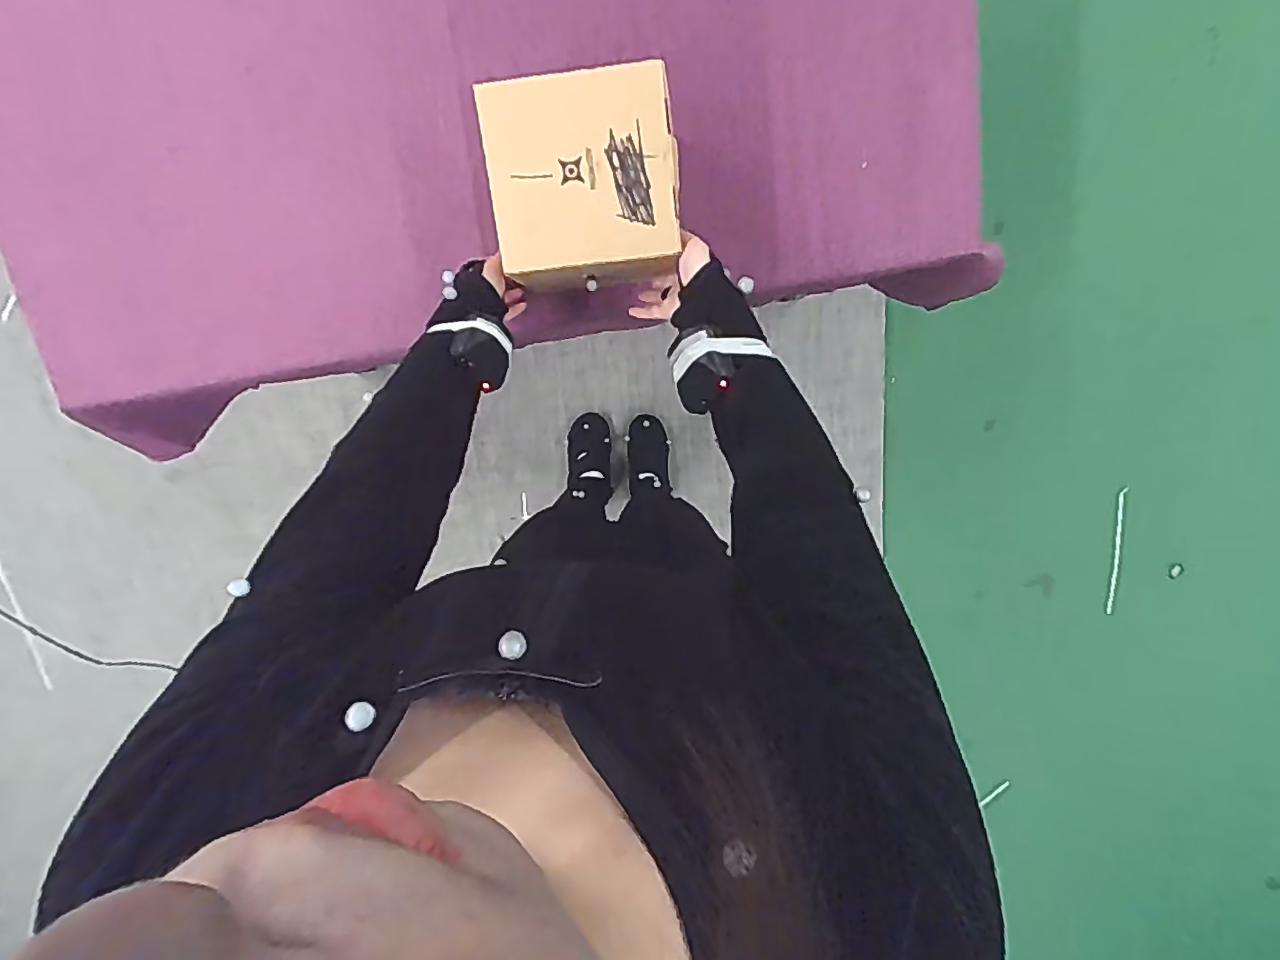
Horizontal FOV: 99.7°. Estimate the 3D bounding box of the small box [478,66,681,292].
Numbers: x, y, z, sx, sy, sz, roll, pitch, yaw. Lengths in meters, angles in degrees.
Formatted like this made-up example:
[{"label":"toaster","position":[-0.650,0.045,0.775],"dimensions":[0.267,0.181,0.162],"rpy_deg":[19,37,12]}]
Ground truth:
[{"label":"small box","position":[-0.053,-0.303,0.581],"dimensions":[0.179,0.176,0.168],"rpy_deg":[-5,103,3]}]
